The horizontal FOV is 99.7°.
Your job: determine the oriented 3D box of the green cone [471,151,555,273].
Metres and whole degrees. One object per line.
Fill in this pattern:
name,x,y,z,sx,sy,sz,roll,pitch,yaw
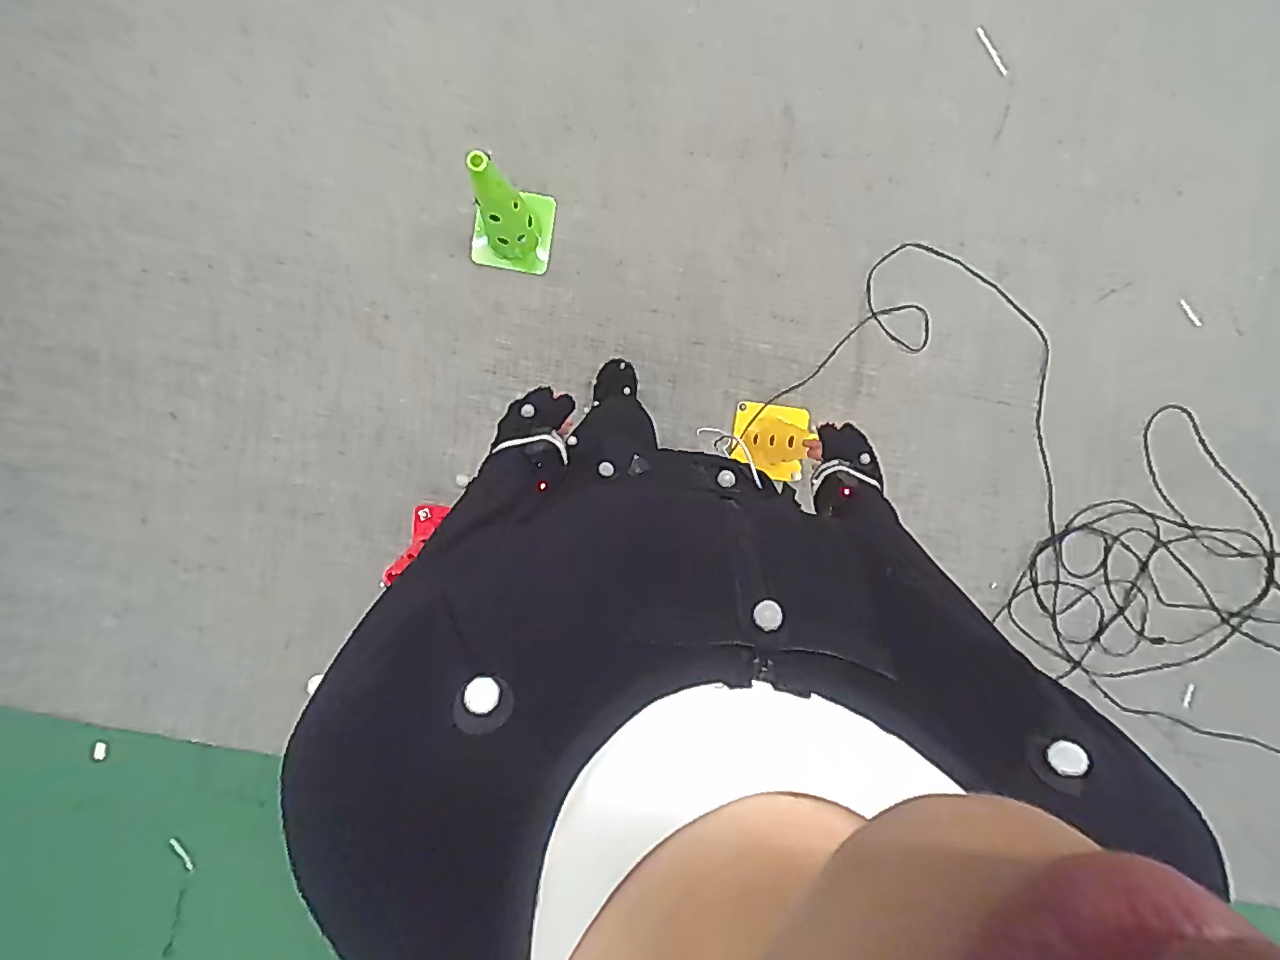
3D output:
green cone,-0.321,-0.637,1.233,0.202,0.368,0.200,9,95,-3

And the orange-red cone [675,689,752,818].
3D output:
orange-red cone,0.215,0.709,1.359,0.198,0.360,0.199,11,94,-3

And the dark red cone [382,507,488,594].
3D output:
dark red cone,-0.506,0.190,1.275,0.202,0.394,0.201,5,96,-2
